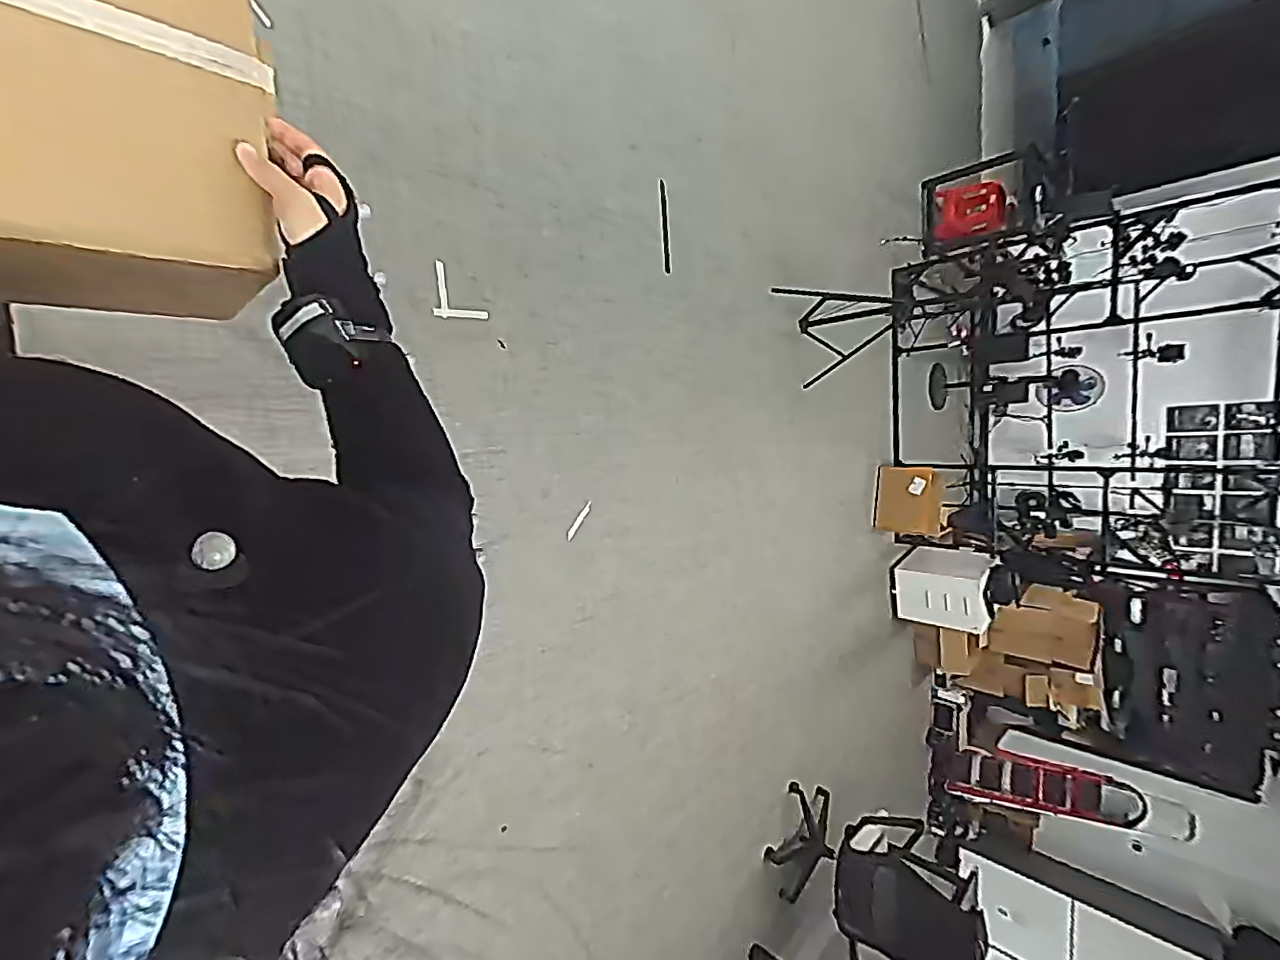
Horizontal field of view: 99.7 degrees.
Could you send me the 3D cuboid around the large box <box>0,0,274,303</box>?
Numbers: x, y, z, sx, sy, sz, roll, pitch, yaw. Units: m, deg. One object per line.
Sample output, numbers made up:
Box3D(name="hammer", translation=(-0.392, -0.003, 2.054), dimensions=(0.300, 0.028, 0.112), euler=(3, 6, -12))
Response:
Box3D(name="large box", translation=(-0.568, -0.334, 0.427), dimensions=(0.408, 0.320, 0.320), euler=(-8, 99, -42))
